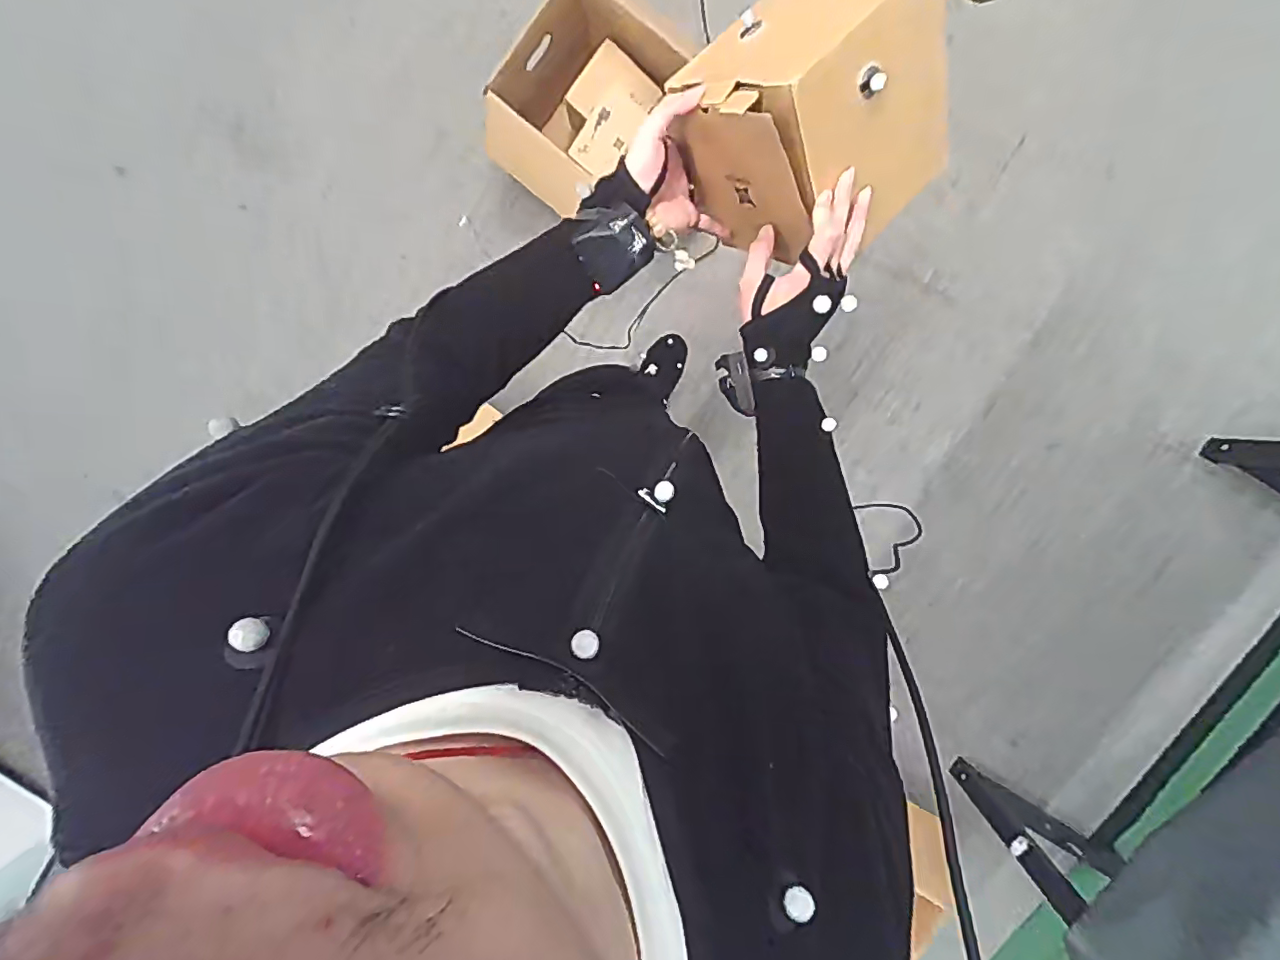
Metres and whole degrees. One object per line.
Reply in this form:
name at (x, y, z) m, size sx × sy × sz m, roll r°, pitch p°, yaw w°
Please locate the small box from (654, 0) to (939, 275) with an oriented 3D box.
small box at (0.151, -0.332, 0.506) m, size 0.176 × 0.168 × 0.179 m, roll -45°, pitch 136°, yaw -4°
